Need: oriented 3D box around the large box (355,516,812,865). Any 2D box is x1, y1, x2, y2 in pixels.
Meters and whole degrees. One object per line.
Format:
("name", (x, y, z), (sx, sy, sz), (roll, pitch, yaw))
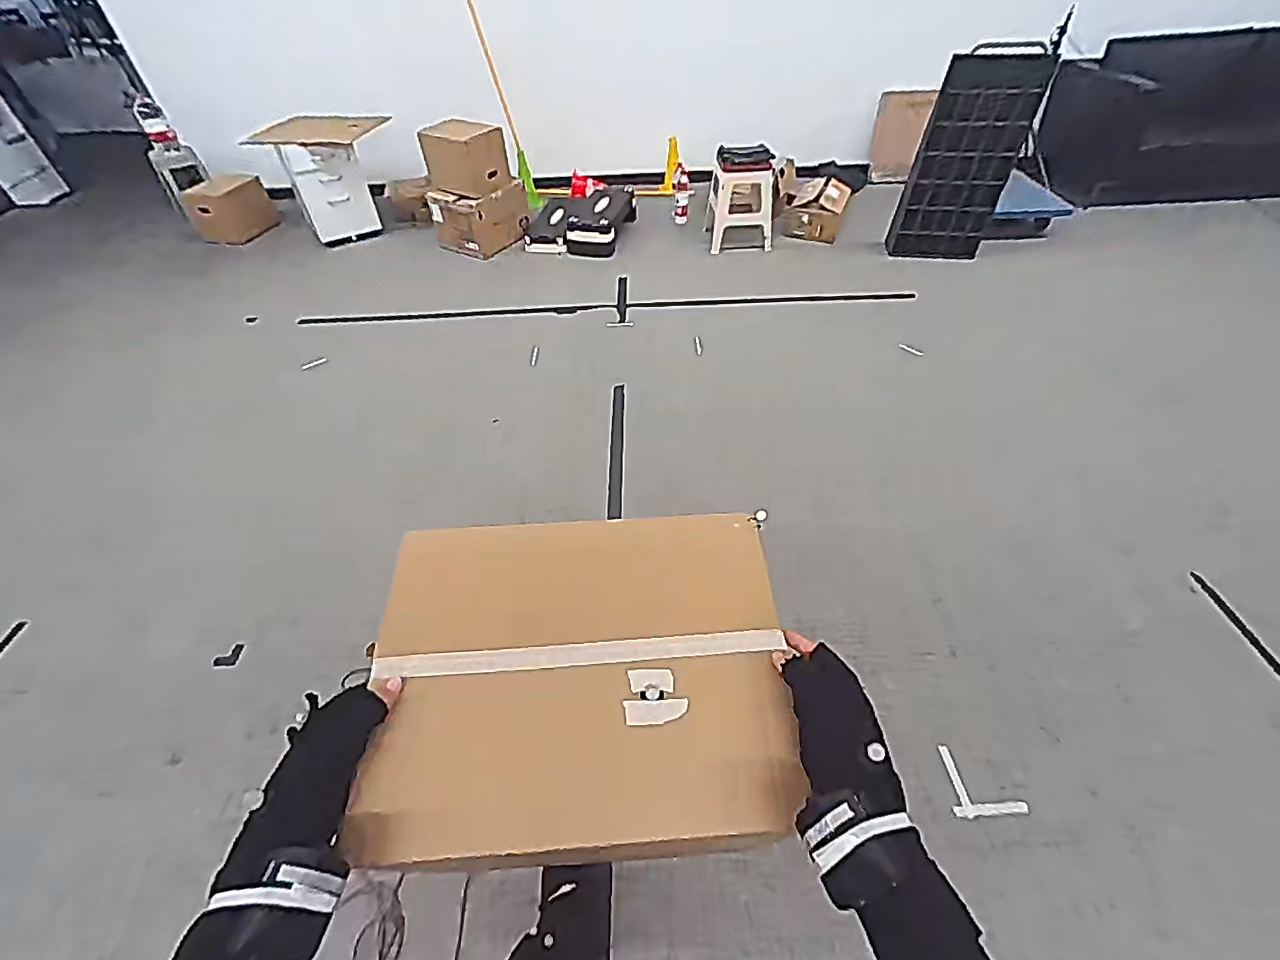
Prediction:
("large box", (-0.058, 0.266, 0.669), (0.408, 0.320, 0.320), (-3, 54, -3))
